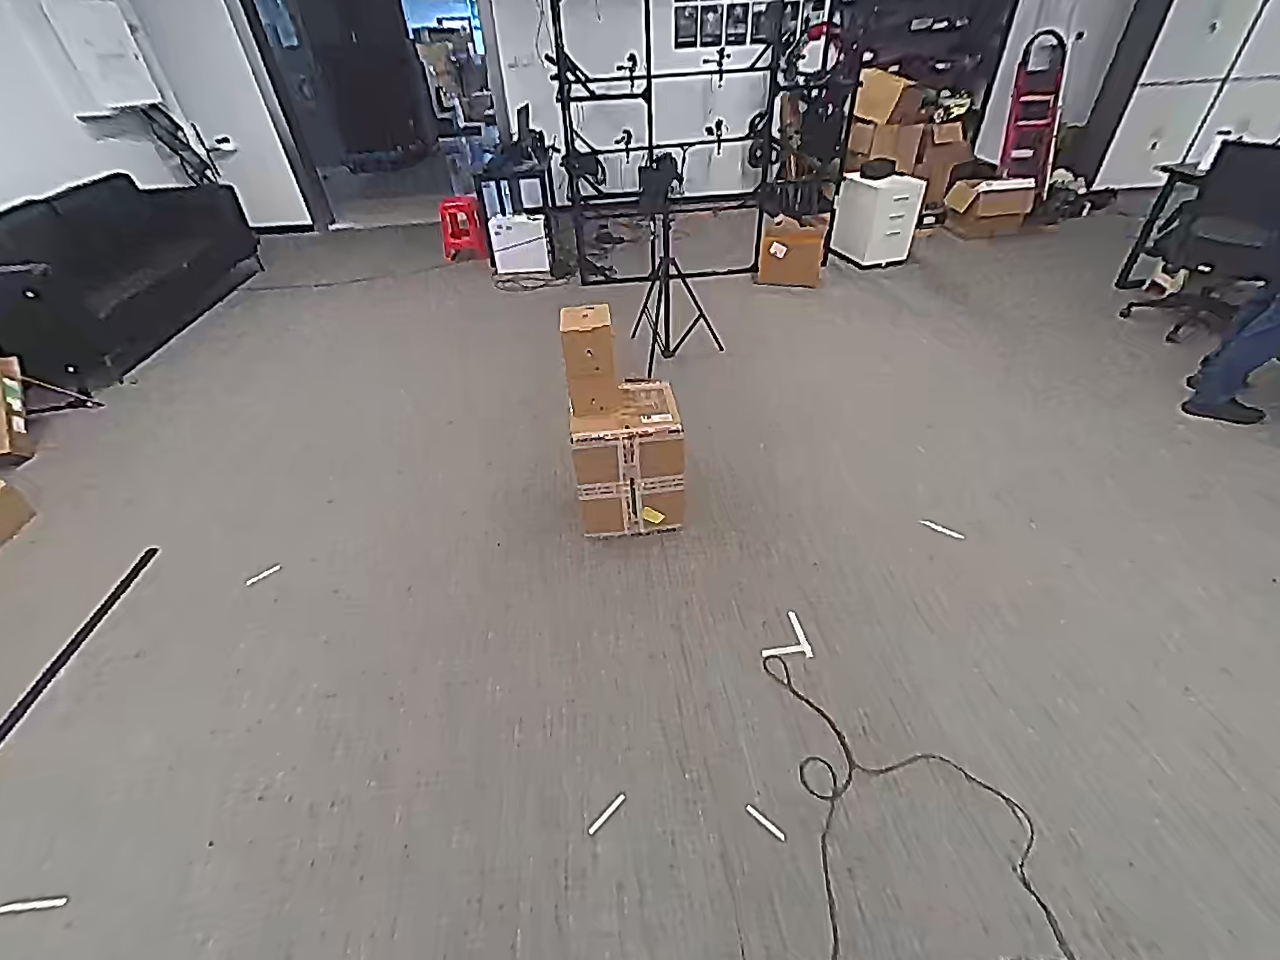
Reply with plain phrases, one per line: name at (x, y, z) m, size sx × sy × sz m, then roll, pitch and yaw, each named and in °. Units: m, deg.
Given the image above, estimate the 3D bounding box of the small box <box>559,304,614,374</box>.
small box at (-0.180, -0.473, 1.834) m, size 0.168 × 0.176 × 0.179 m, roll -7°, pitch 42°, yaw -2°

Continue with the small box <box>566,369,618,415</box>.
small box at (-0.175, -0.355, 1.949) m, size 0.168 × 0.176 × 0.179 m, roll -8°, pitch 42°, yaw -3°
